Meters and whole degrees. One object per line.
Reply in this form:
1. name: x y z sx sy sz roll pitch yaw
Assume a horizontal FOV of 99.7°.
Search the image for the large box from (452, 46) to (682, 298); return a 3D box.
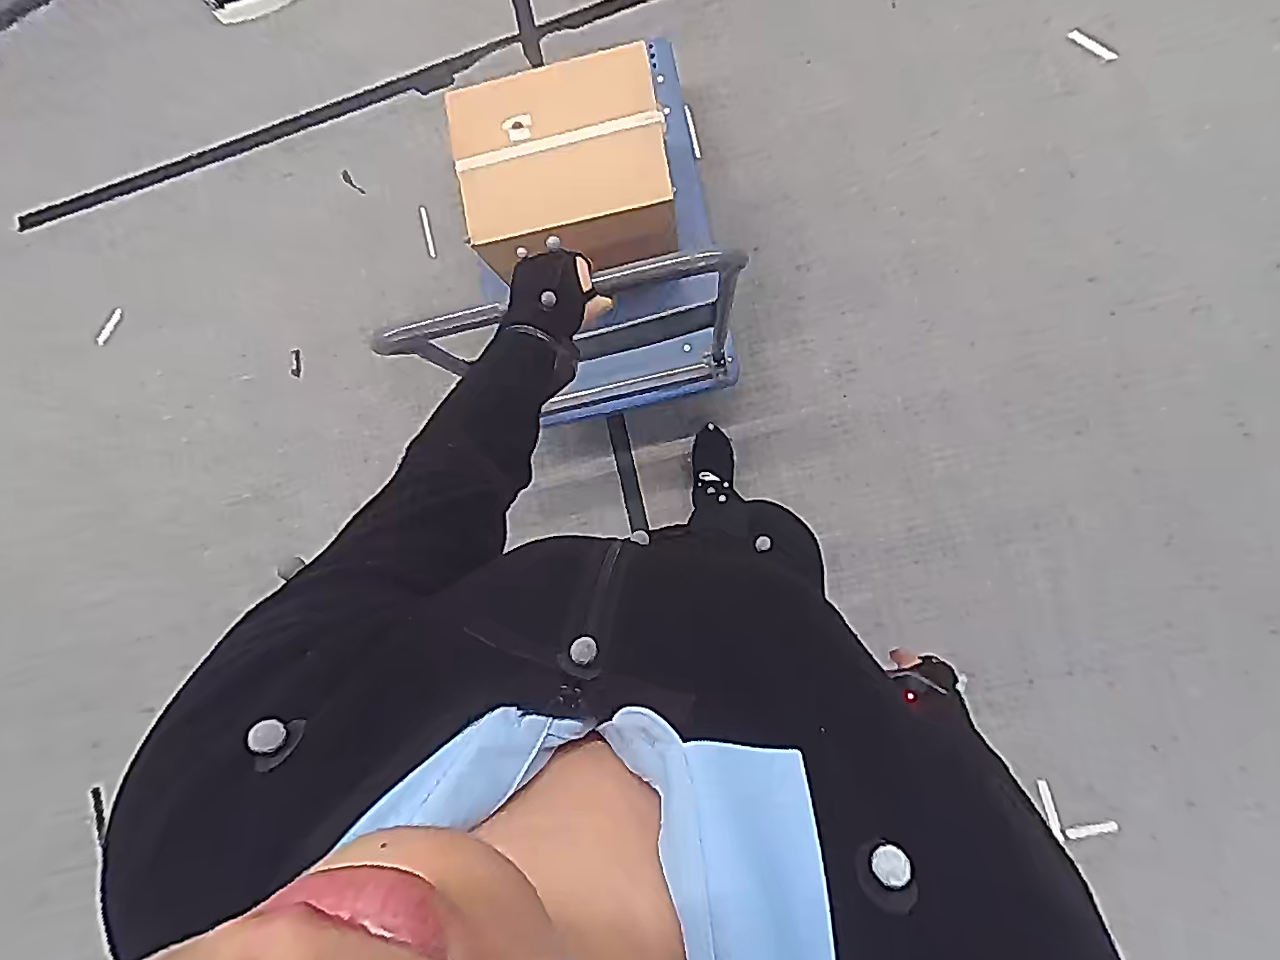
1. large box: -0.137 -0.641 1.196 0.408 0.320 0.320 -10 87 7
